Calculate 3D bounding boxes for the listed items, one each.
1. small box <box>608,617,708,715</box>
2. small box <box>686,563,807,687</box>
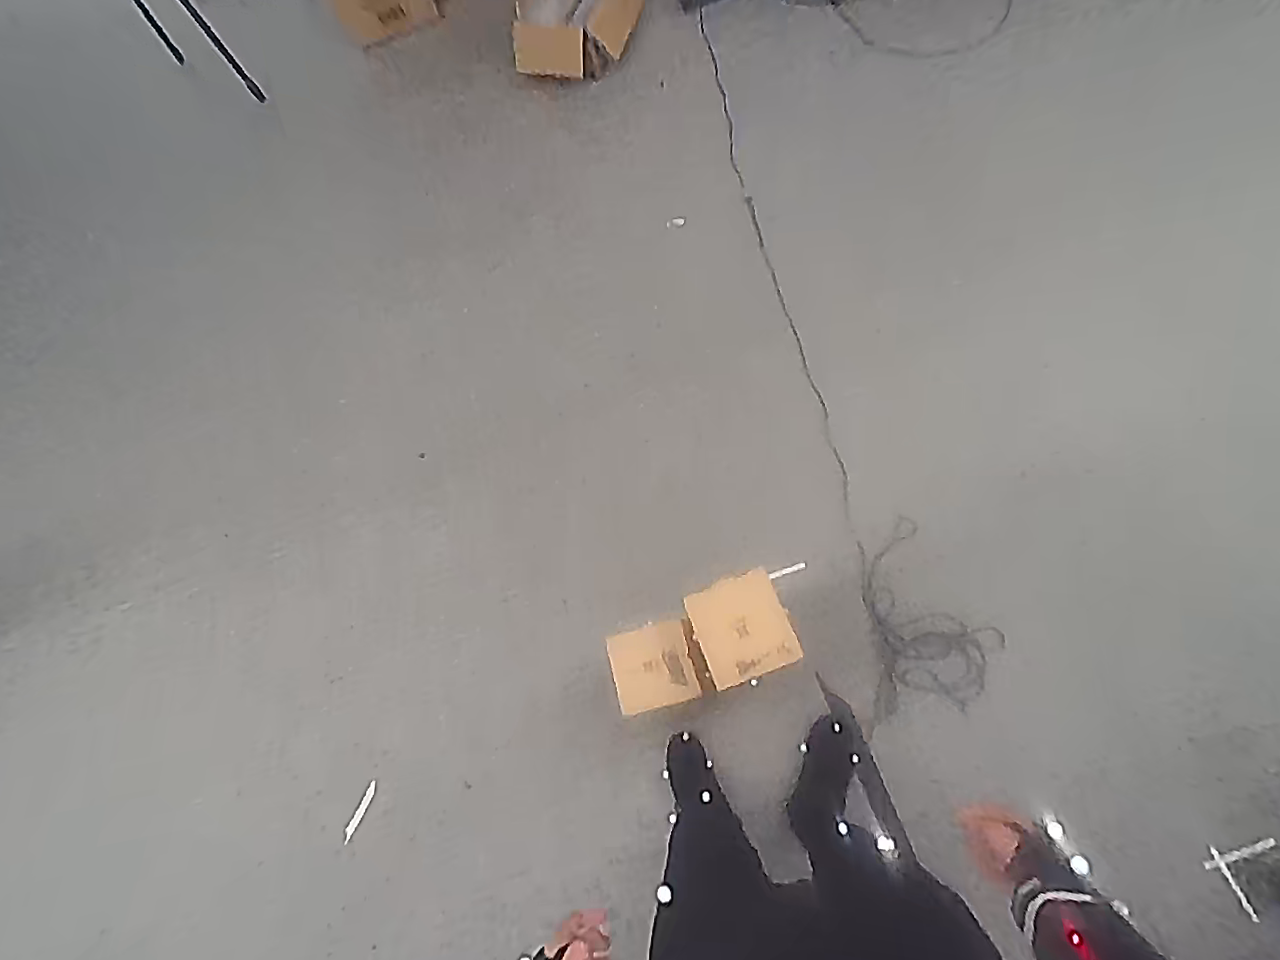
[{"bbox_3d":[0.048,0.409,1.209,0.179,0.176,0.168,-19,71,8],"label":"small box"},{"bbox_3d":[0.201,0.281,1.039,0.168,0.176,0.179,-23,70,5],"label":"small box"}]
